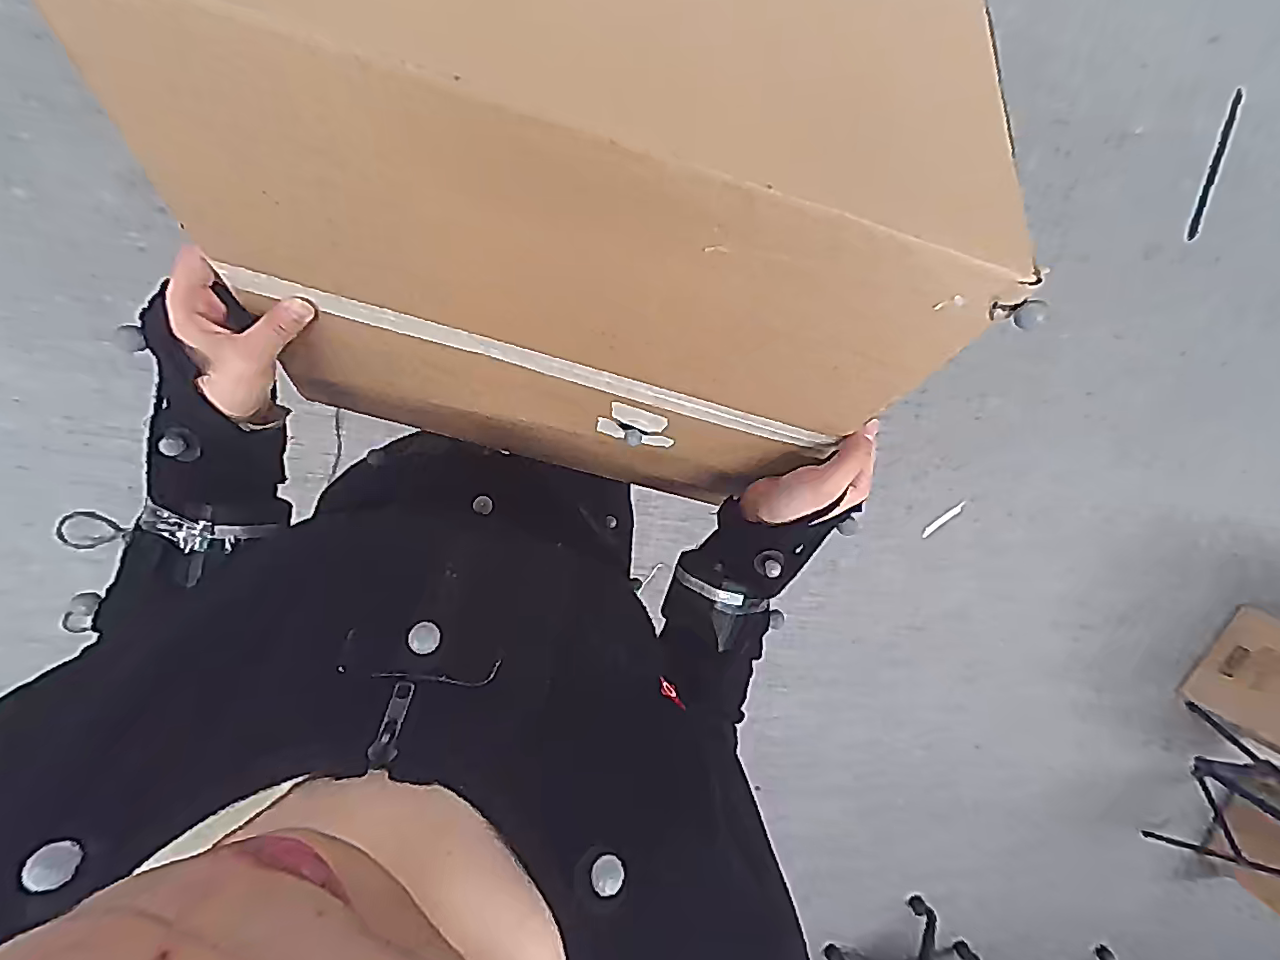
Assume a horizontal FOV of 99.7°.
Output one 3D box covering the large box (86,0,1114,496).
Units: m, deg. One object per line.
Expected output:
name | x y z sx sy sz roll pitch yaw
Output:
large box | -0.013 -0.222 0.384 0.408 0.320 0.320 14 66 -8
